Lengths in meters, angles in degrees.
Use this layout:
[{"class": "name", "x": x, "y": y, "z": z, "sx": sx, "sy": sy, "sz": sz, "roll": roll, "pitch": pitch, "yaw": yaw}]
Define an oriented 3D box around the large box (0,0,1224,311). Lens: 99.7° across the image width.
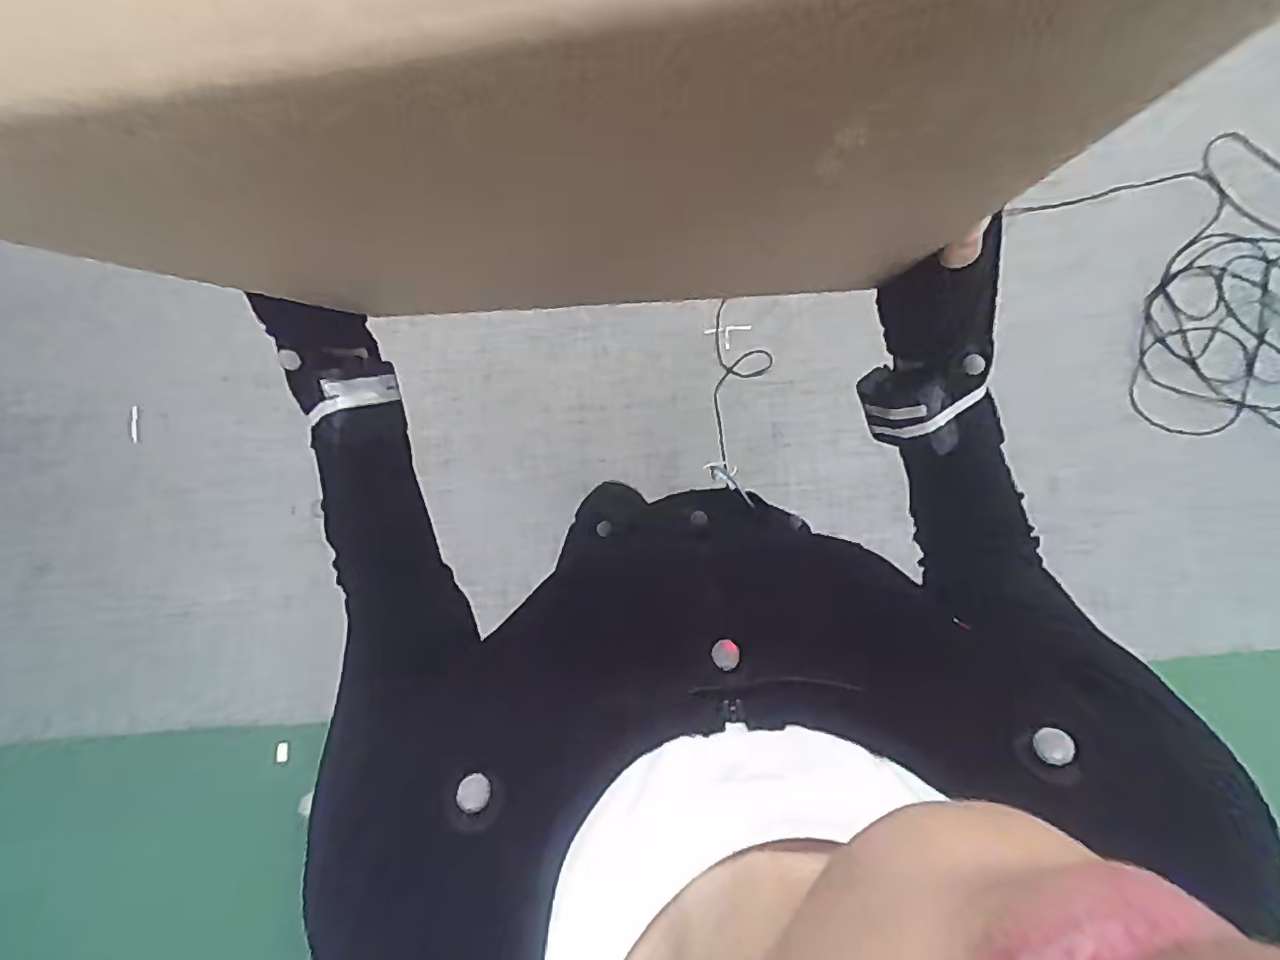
[{"class": "large box", "x": -0.046, "y": -0.270, "z": 0.241, "sx": 0.408, "sy": 0.320, "sz": 0.320, "roll": -1, "pitch": 100, "yaw": 9}]
